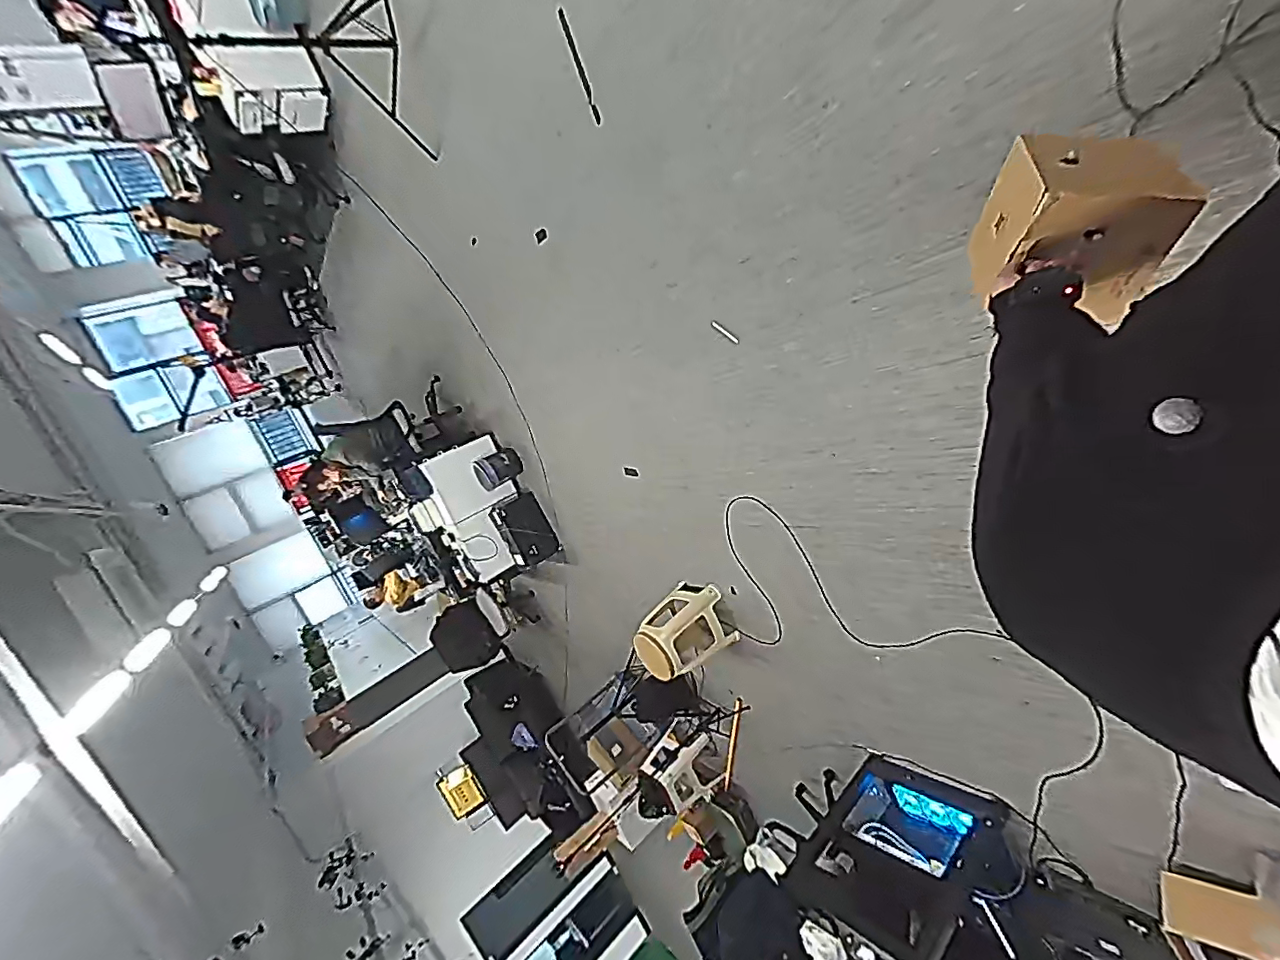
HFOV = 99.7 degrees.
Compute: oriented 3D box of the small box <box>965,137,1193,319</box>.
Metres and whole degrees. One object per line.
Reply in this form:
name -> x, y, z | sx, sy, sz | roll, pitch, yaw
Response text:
small box -> 0.576, -0.338, 0.733 | 0.176, 0.179, 0.168 | 11, 143, 8
